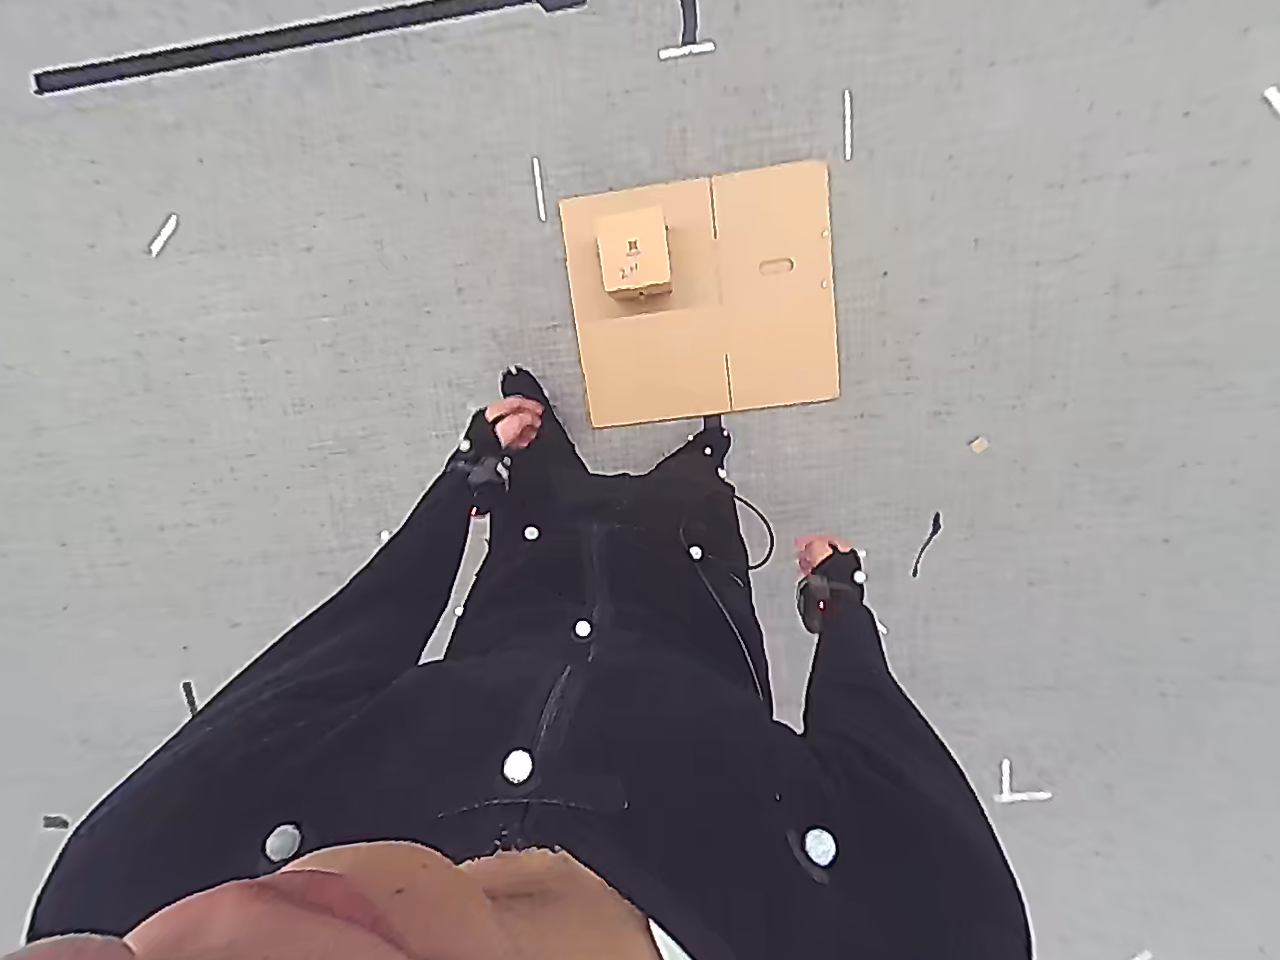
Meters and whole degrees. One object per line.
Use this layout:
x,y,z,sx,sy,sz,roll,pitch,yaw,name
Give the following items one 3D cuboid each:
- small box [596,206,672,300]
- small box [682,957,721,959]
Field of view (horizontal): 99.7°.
-0.010,-0.564,1.363,0.168,0.176,0.179,-6,102,6,small box
0.232,1.820,1.893,0.168,0.176,0.179,-7,102,5,small box
